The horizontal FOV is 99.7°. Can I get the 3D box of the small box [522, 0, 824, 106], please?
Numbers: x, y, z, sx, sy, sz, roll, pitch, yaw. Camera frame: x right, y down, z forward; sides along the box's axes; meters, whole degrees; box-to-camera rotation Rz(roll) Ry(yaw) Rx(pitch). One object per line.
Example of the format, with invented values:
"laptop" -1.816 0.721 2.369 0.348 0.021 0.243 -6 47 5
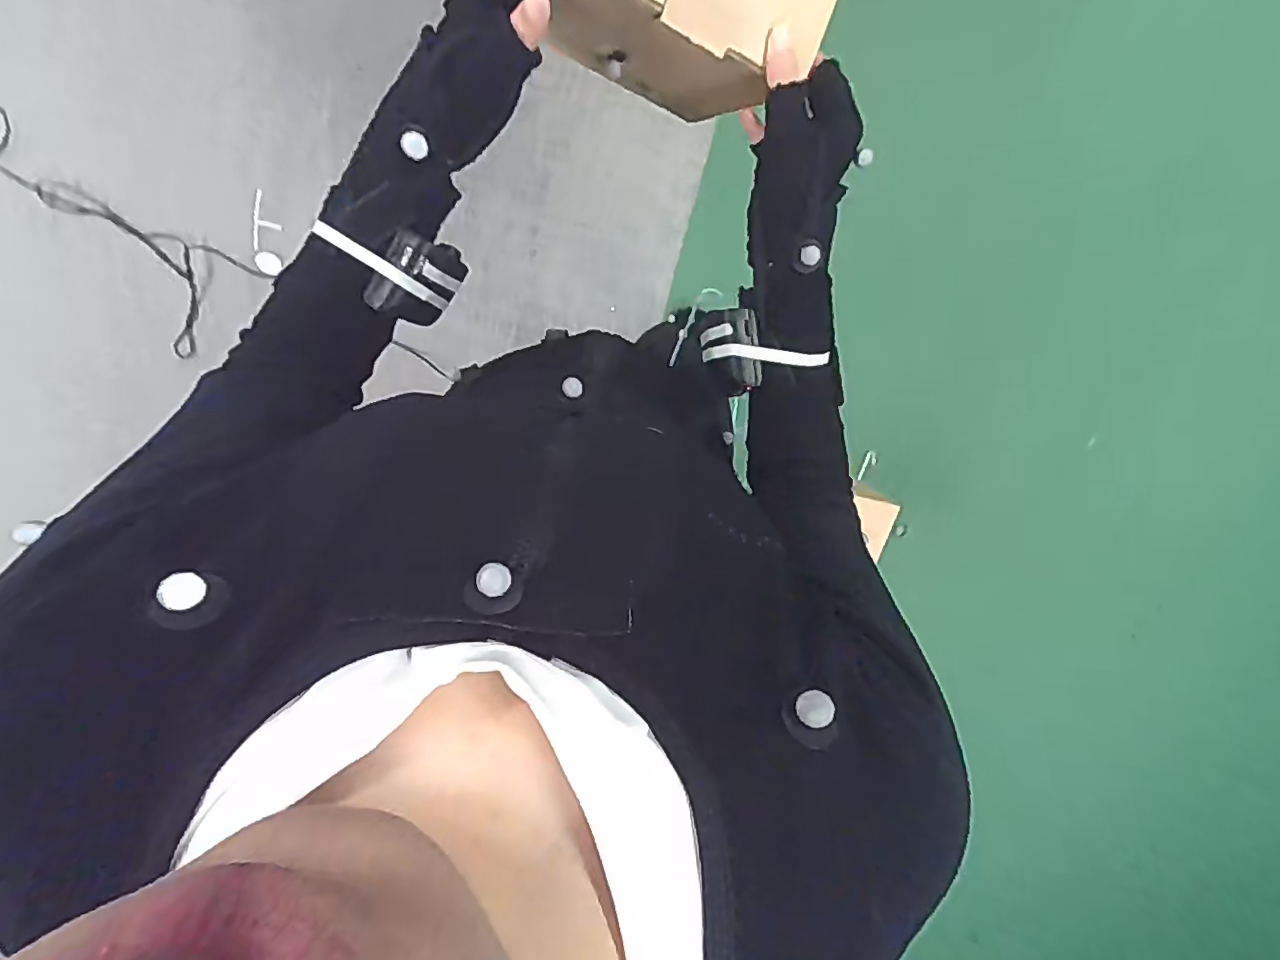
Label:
"small box" 0.028 -0.385 0.357 0.168 0.176 0.179 9 113 -27
